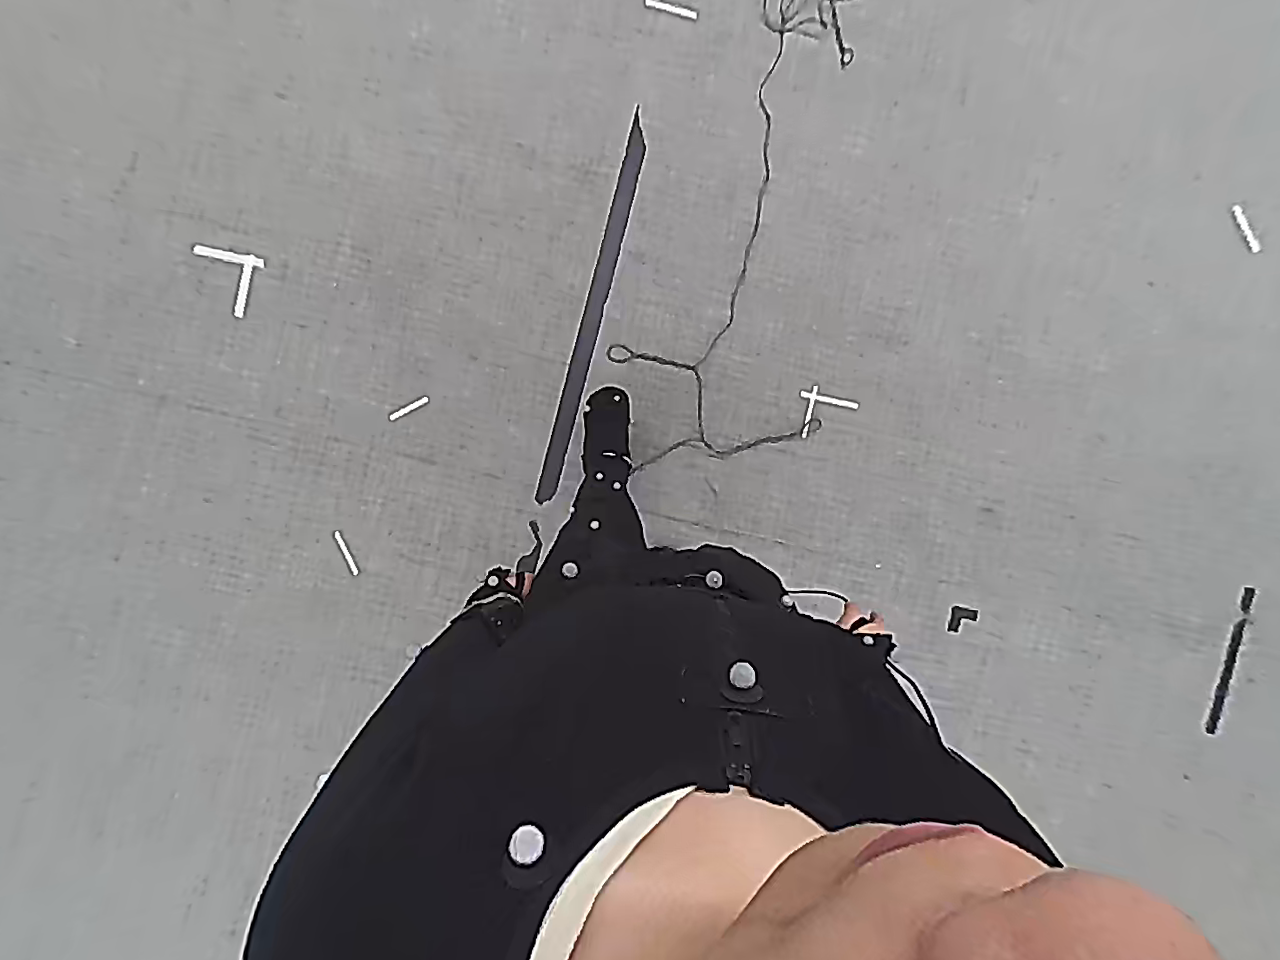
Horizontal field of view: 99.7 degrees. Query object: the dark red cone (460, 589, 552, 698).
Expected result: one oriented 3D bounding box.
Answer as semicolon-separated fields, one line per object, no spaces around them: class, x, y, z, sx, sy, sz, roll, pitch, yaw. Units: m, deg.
dark red cone;-0.319;0.378;1.165;0.201;0.394;0.202;13;89;-3
